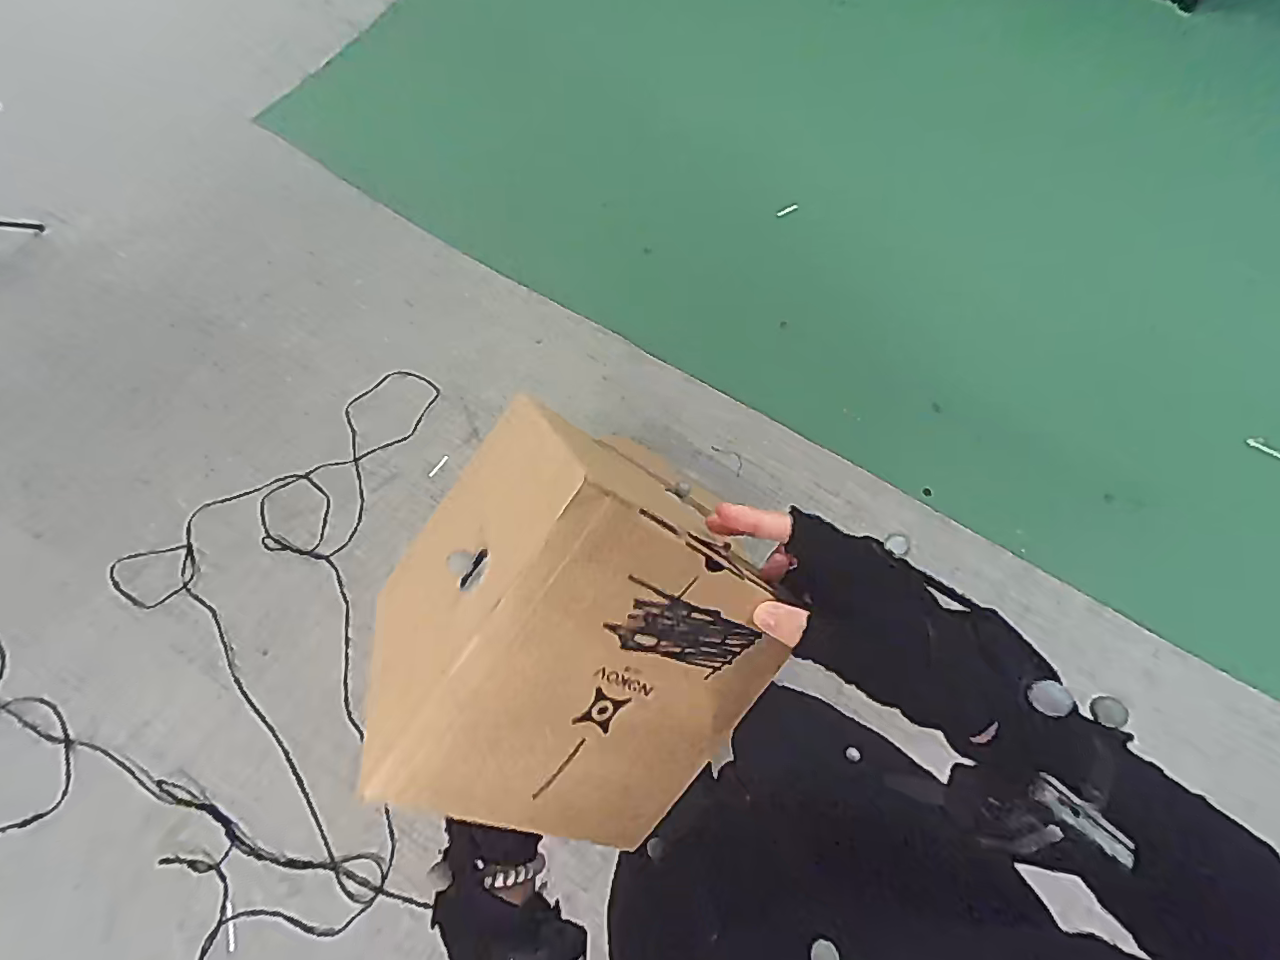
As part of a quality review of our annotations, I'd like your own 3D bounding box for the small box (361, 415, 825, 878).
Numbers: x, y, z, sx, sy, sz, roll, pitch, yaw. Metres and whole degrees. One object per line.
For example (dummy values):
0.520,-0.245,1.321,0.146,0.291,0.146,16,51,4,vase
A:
-0.036,0.084,0.326,0.168,0.176,0.179,35,96,-28,small box
